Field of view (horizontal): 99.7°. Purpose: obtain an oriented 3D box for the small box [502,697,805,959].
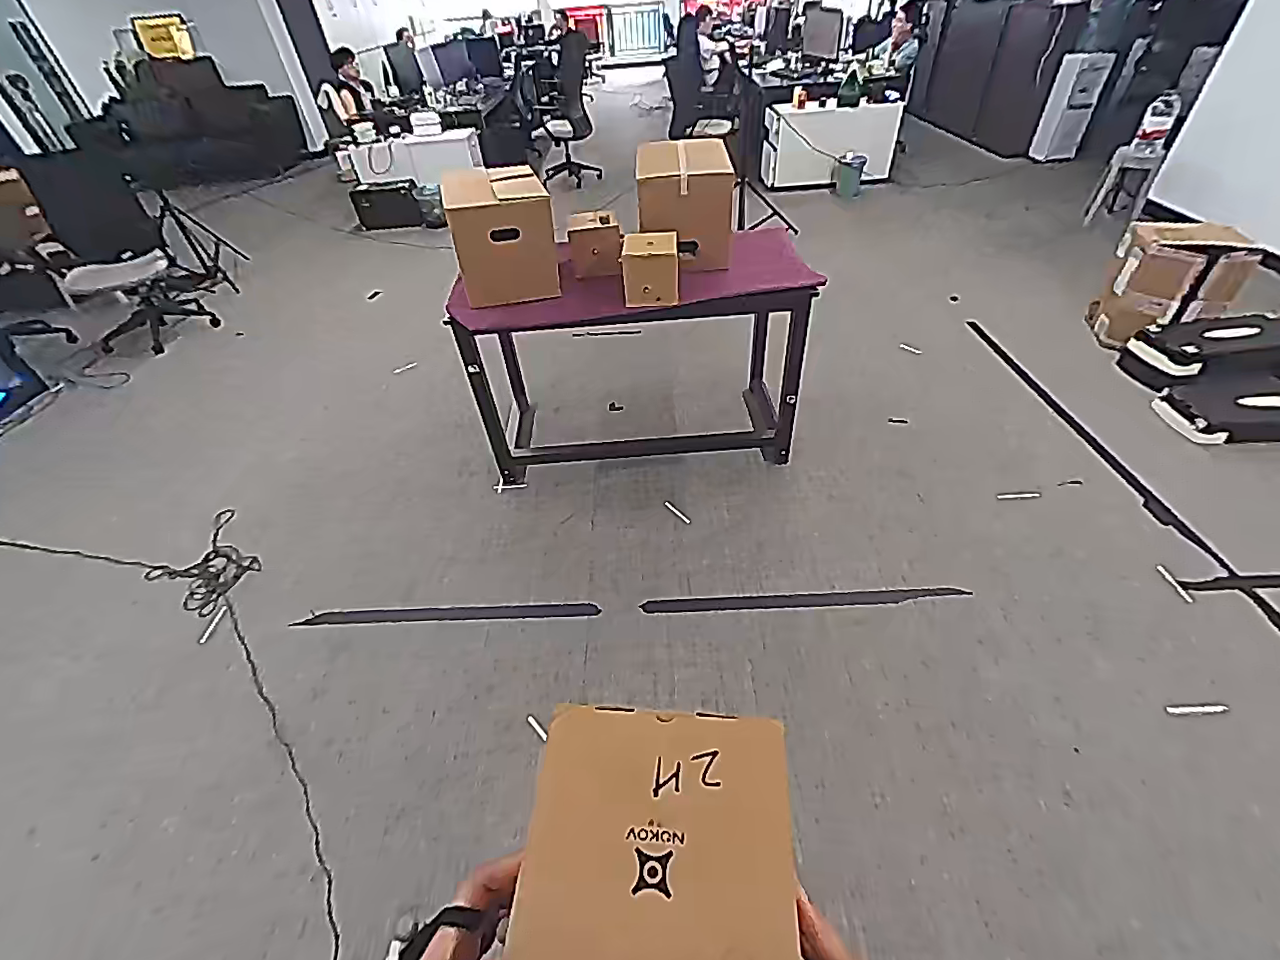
[{"bbox_3d":[0.018,0.277,0.380,0.168,0.176,0.179,2,46,7],"label":"small box"}]
